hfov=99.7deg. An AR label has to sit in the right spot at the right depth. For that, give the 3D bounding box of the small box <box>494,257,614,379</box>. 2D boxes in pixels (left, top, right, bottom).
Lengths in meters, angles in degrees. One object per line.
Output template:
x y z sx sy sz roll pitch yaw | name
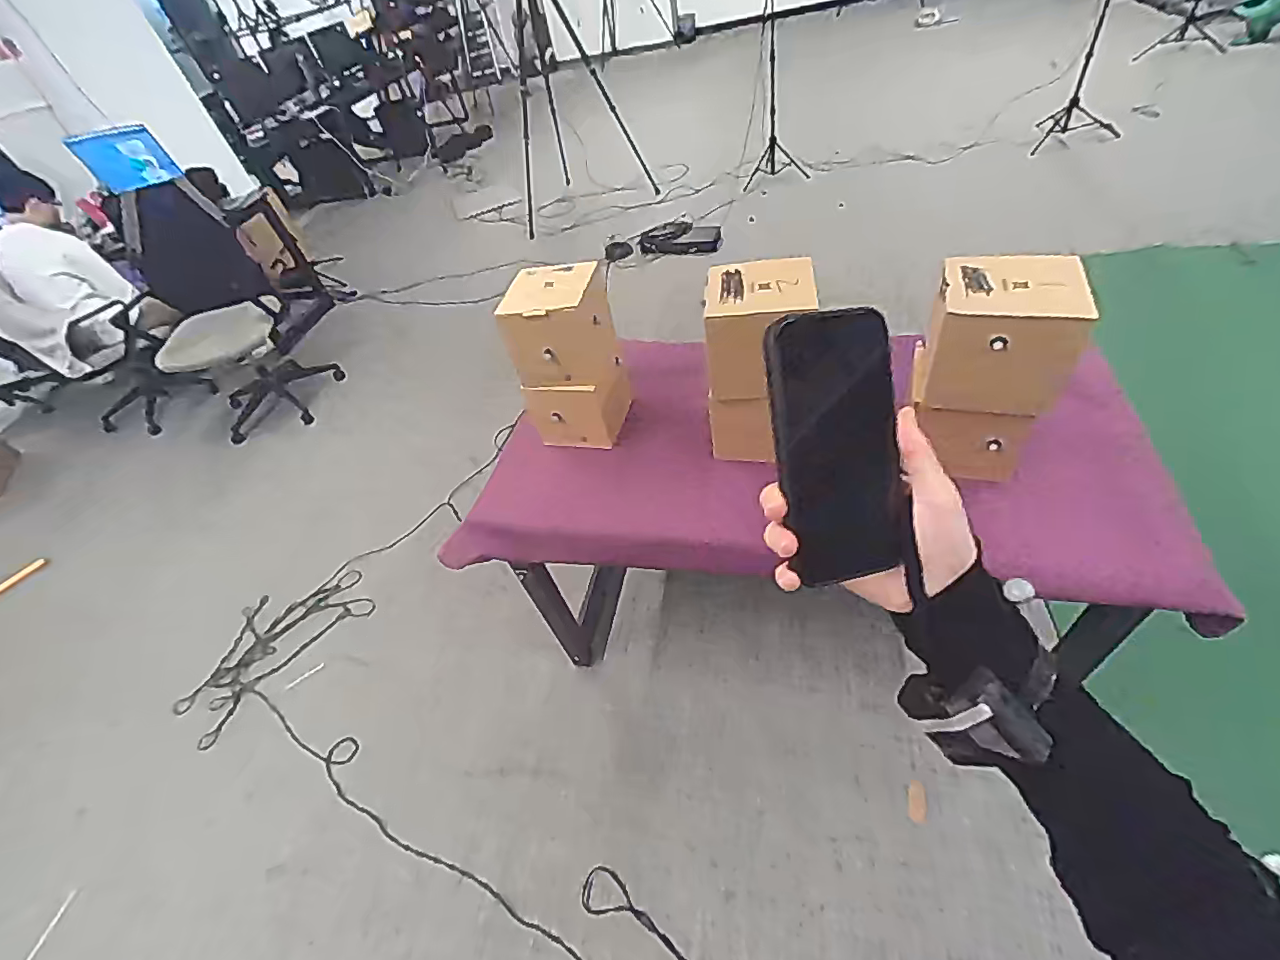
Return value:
-0.157 -0.312 1.067 0.168 0.176 0.179 0 49 14 | small box

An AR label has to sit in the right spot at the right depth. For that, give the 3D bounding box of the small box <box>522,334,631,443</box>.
-0.129 -0.197 1.181 0.168 0.176 0.179 4 49 18 | small box

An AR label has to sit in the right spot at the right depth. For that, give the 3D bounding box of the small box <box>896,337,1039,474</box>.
0.560 -0.129 0.943 0.179 0.176 0.168 8 50 22 | small box

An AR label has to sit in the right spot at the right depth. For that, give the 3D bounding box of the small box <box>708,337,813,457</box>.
0.238 -0.160 1.051 0.179 0.176 0.168 3 49 17 | small box

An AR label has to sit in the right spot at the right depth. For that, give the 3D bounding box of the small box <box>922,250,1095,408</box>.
0.534 -0.226 0.812 0.179 0.176 0.168 9 51 21 | small box
